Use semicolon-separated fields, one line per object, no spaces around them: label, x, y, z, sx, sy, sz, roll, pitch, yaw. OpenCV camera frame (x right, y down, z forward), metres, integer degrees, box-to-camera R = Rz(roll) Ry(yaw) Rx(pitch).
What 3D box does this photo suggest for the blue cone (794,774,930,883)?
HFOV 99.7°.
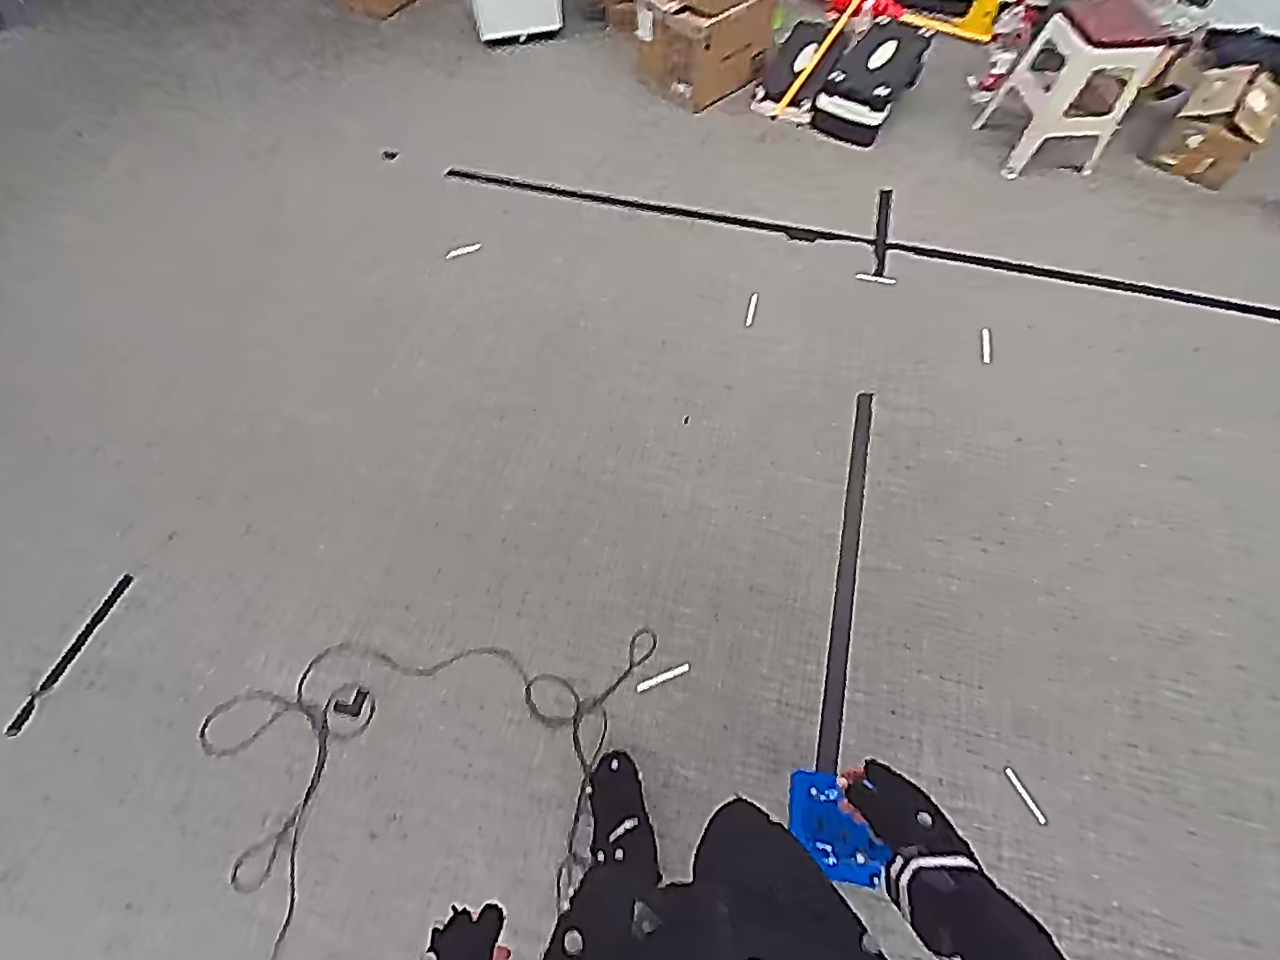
blue cone;0.441;0.691;1.047;0.192;0.380;0.193;11;63;4
